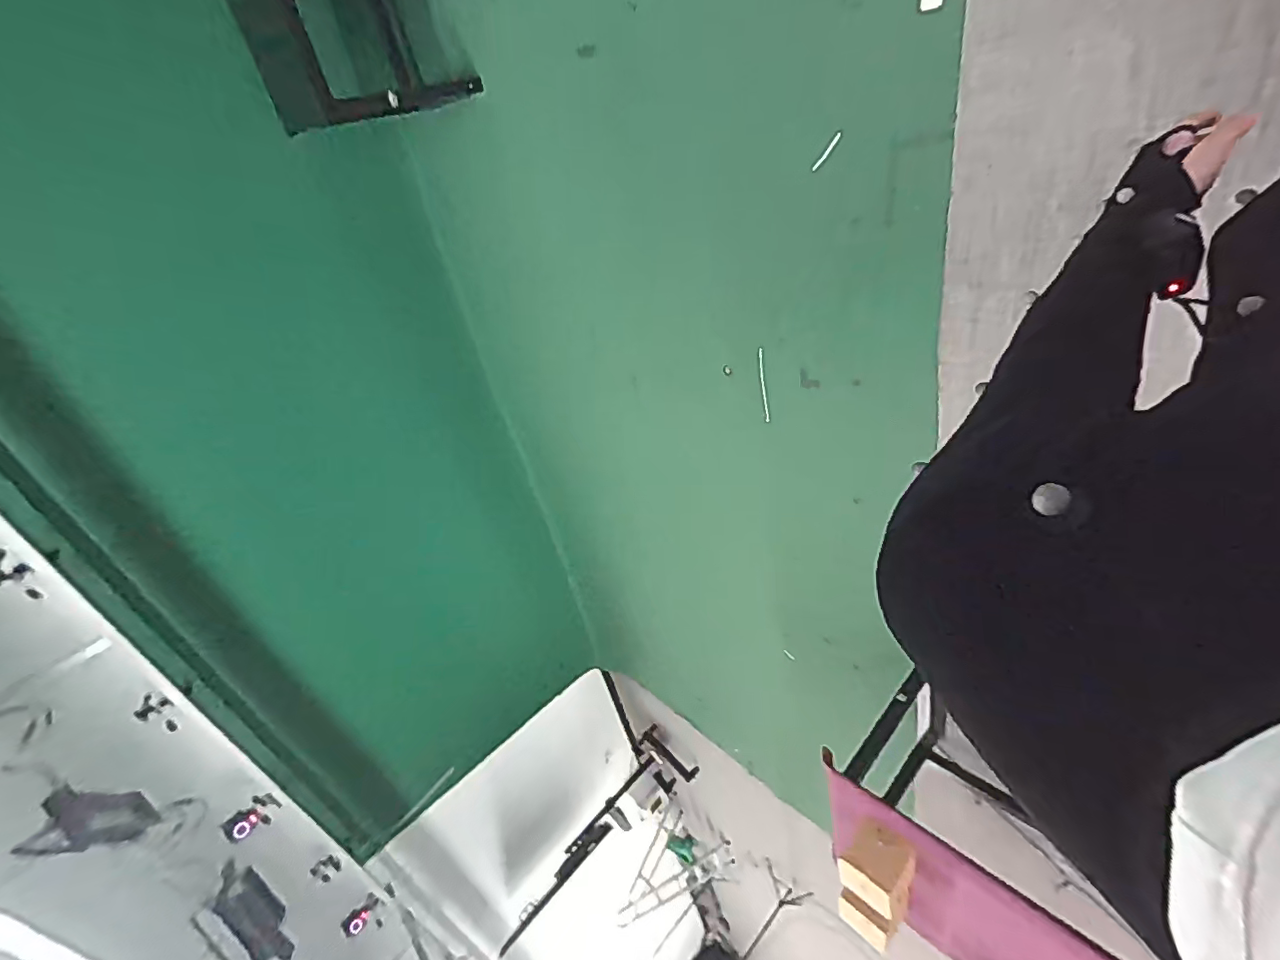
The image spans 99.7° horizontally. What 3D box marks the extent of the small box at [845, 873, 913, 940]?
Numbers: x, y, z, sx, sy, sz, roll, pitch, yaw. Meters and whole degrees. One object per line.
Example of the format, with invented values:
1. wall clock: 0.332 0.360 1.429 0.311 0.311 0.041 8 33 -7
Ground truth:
1. small box: 0.839 1.442 1.898 0.168 0.176 0.179 20 136 43

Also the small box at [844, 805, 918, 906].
1. small box: 0.774 1.195 1.729 0.168 0.176 0.179 18 135 43
